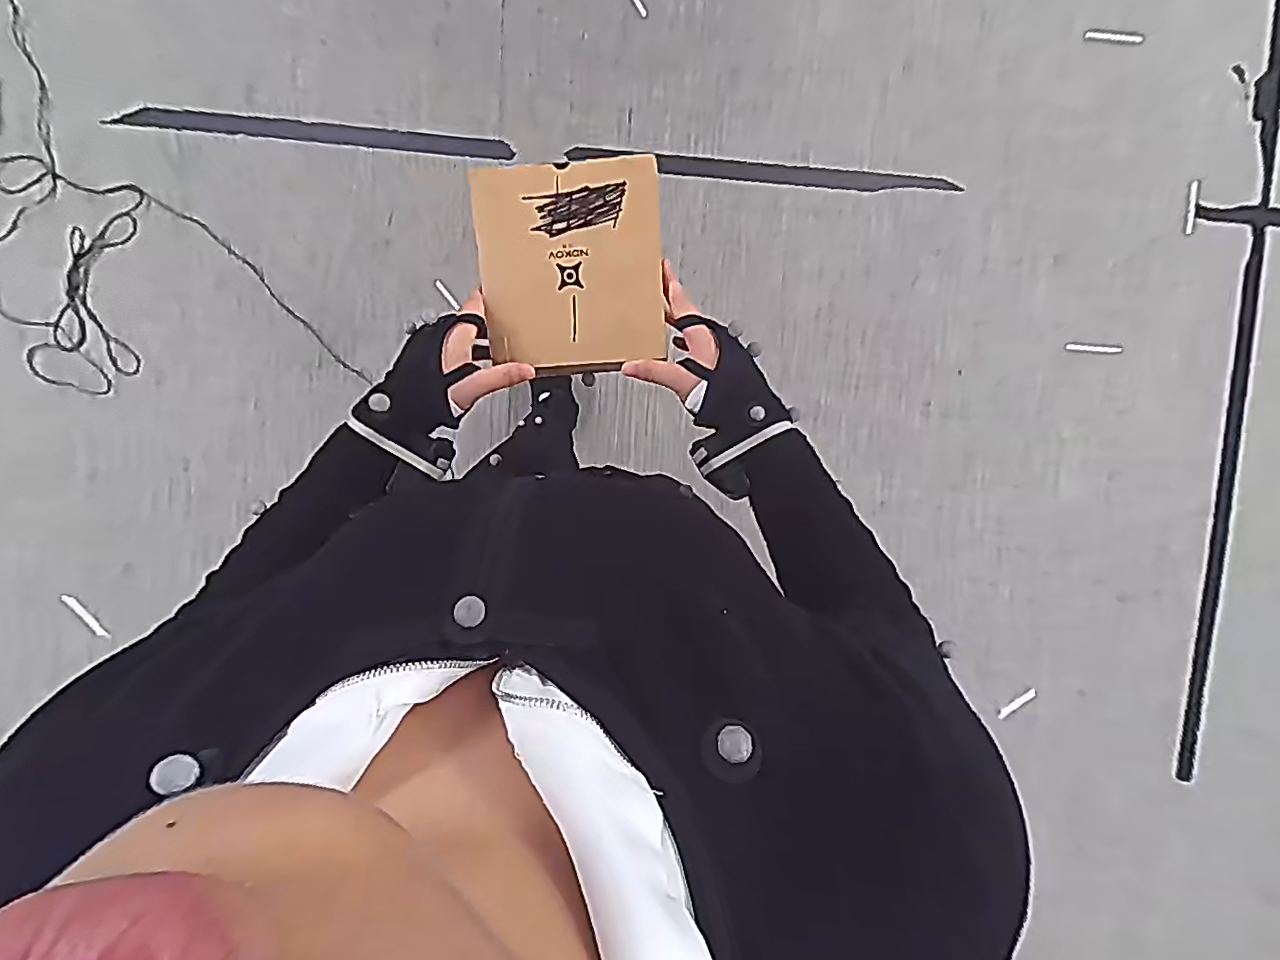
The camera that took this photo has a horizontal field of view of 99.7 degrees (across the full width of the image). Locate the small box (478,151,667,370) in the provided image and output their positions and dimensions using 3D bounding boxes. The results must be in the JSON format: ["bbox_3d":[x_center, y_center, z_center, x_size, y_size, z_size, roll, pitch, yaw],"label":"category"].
[{"bbox_3d":[-0.058,-0.212,0.567,0.168,0.176,0.179,-3,99,2],"label":"small box"}]
